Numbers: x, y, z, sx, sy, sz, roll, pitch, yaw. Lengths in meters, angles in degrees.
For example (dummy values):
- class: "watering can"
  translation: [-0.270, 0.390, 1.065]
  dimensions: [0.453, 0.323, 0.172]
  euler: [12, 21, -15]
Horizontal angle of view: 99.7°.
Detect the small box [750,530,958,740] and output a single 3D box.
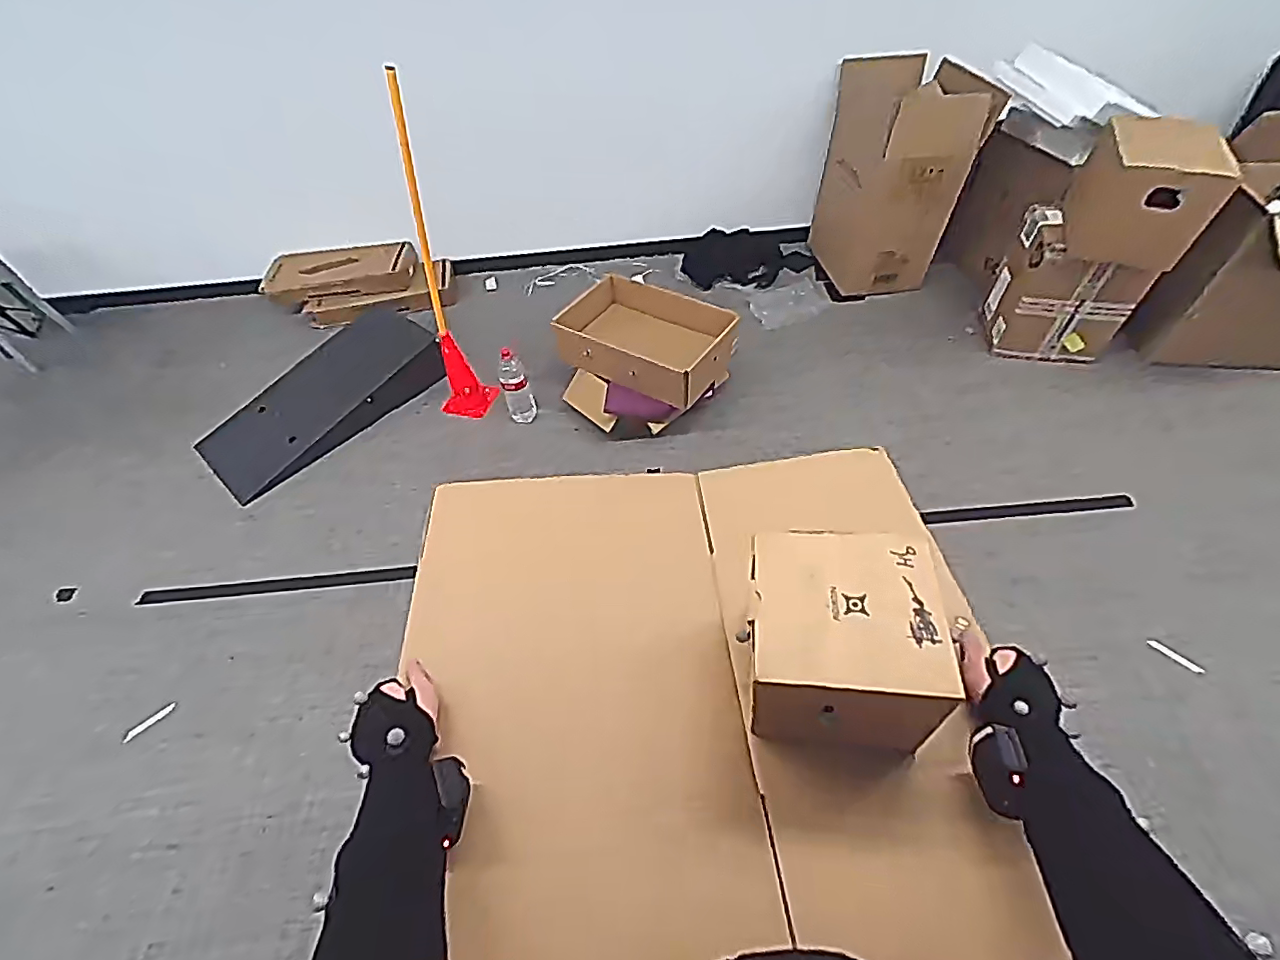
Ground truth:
- class: "small box"
  translation: [0.212, 0.169, 0.586]
  dimensions: [0.179, 0.176, 0.168]
  euler: [0, 51, 12]
